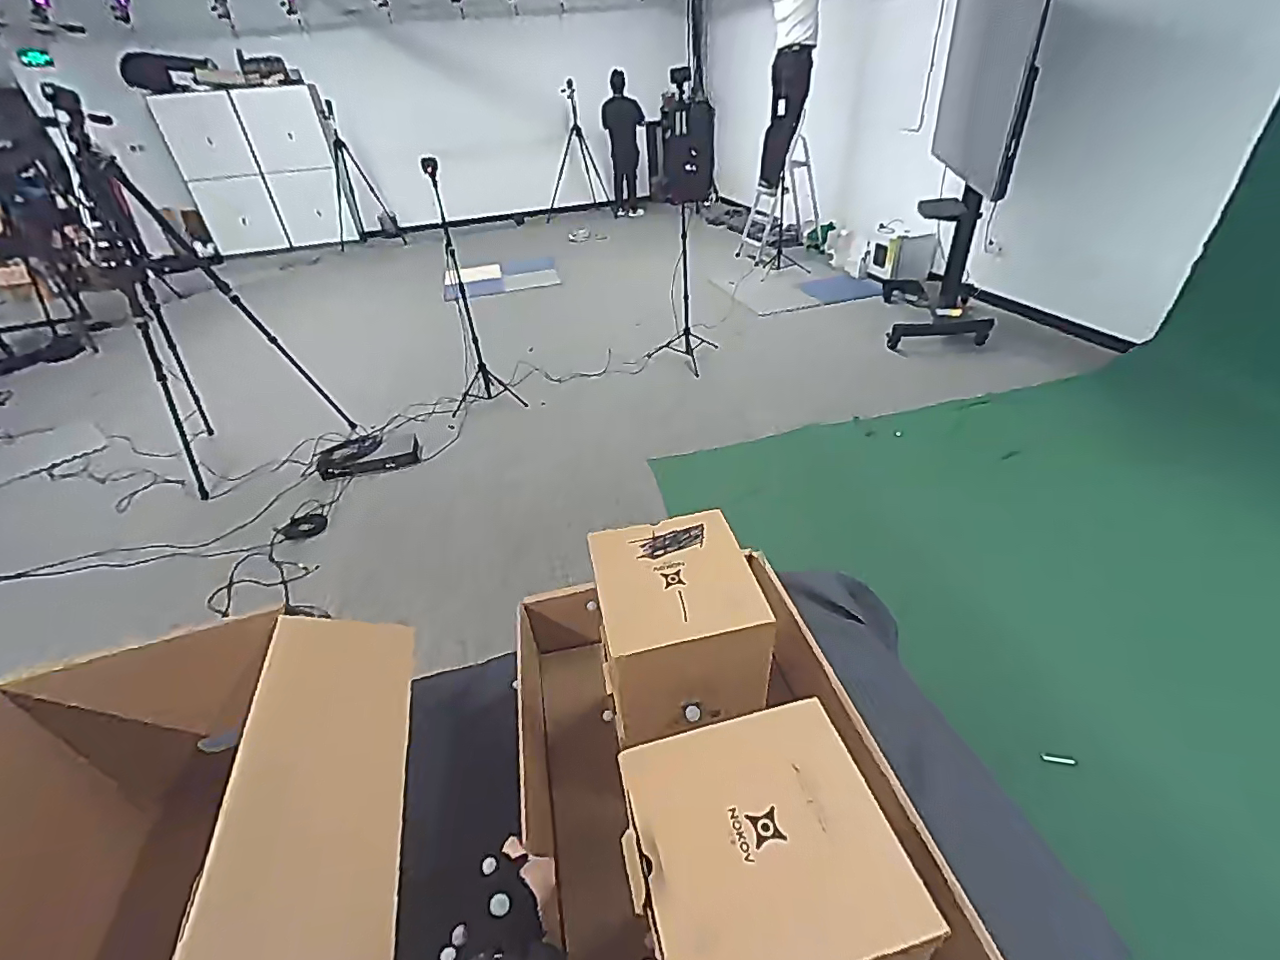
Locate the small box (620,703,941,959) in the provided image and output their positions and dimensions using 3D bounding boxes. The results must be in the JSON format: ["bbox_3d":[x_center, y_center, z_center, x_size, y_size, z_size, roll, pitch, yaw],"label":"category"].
[{"bbox_3d":[0.091,0.314,0.426,0.179,0.176,0.168,-11,36,-9],"label":"small box"}]

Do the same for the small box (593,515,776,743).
[{"bbox_3d":[0.042,0.169,0.628,0.168,0.176,0.179,-10,38,-6],"label":"small box"}]
